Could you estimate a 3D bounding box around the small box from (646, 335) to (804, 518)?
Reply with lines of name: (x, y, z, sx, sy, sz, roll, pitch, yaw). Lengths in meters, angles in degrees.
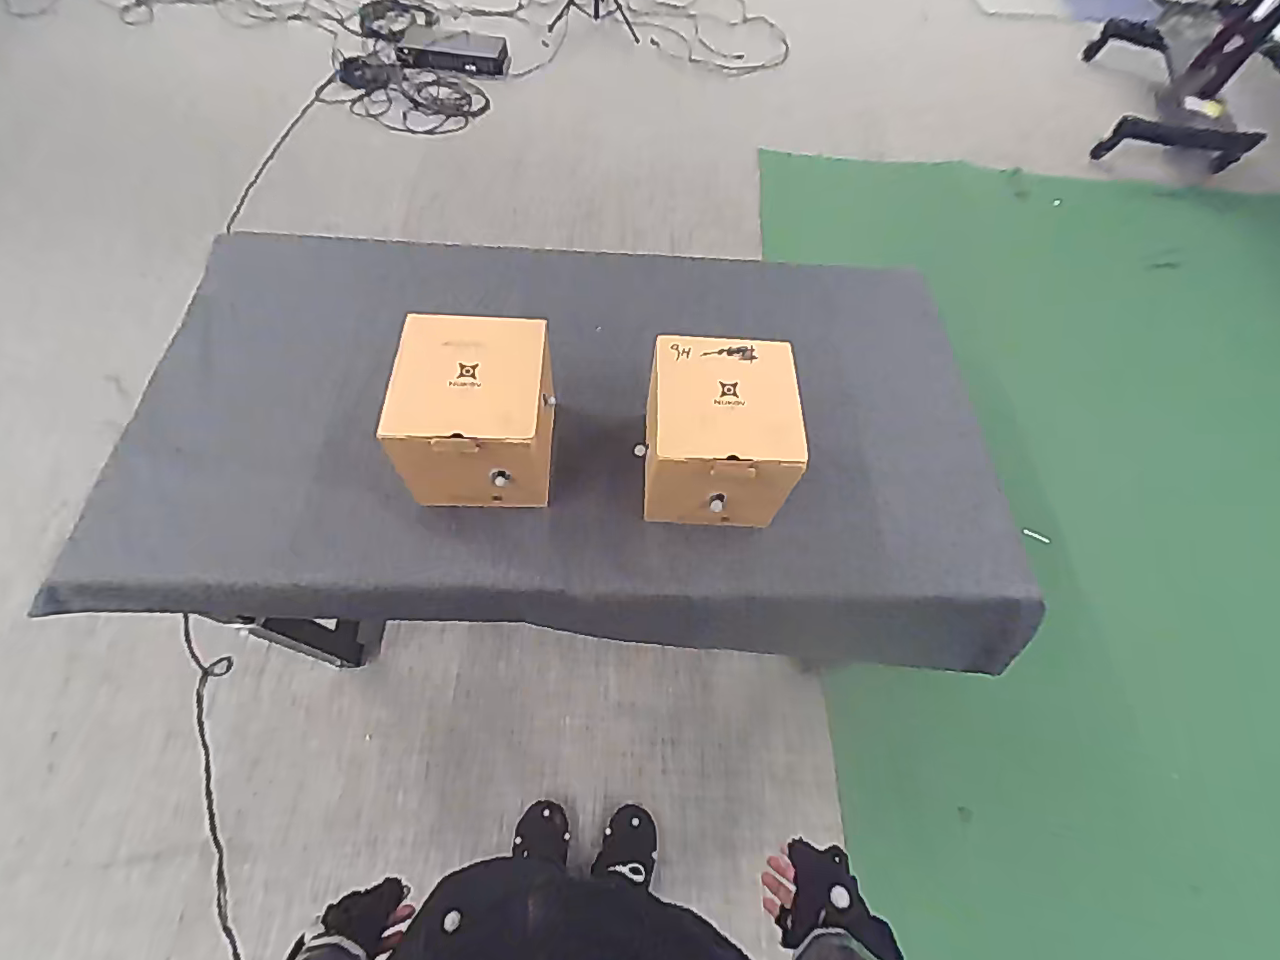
small box: (0.096, -0.060, 0.694, 0.168, 0.176, 0.179, 2, 62, -3)

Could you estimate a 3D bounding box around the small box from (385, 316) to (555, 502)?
small box: (-0.198, -0.082, 0.686, 0.168, 0.176, 0.179, 1, 61, -5)
